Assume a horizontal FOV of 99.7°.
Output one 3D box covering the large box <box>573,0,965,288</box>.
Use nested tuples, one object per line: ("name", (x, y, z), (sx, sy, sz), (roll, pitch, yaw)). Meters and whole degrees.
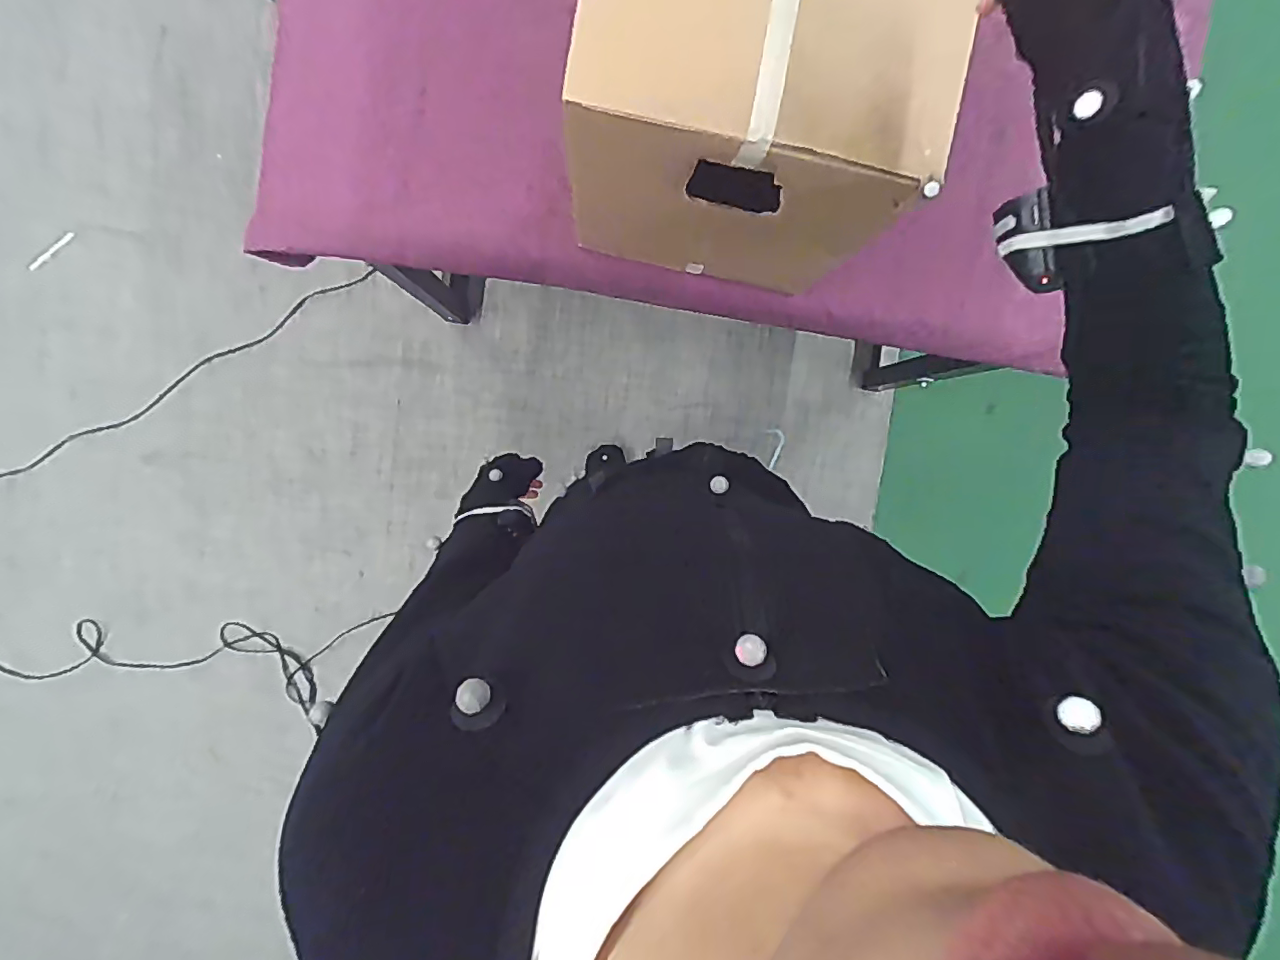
("large box", (0.117, -0.475, 0.581), (0.320, 0.320, 0.408), (11, 94, -4))
